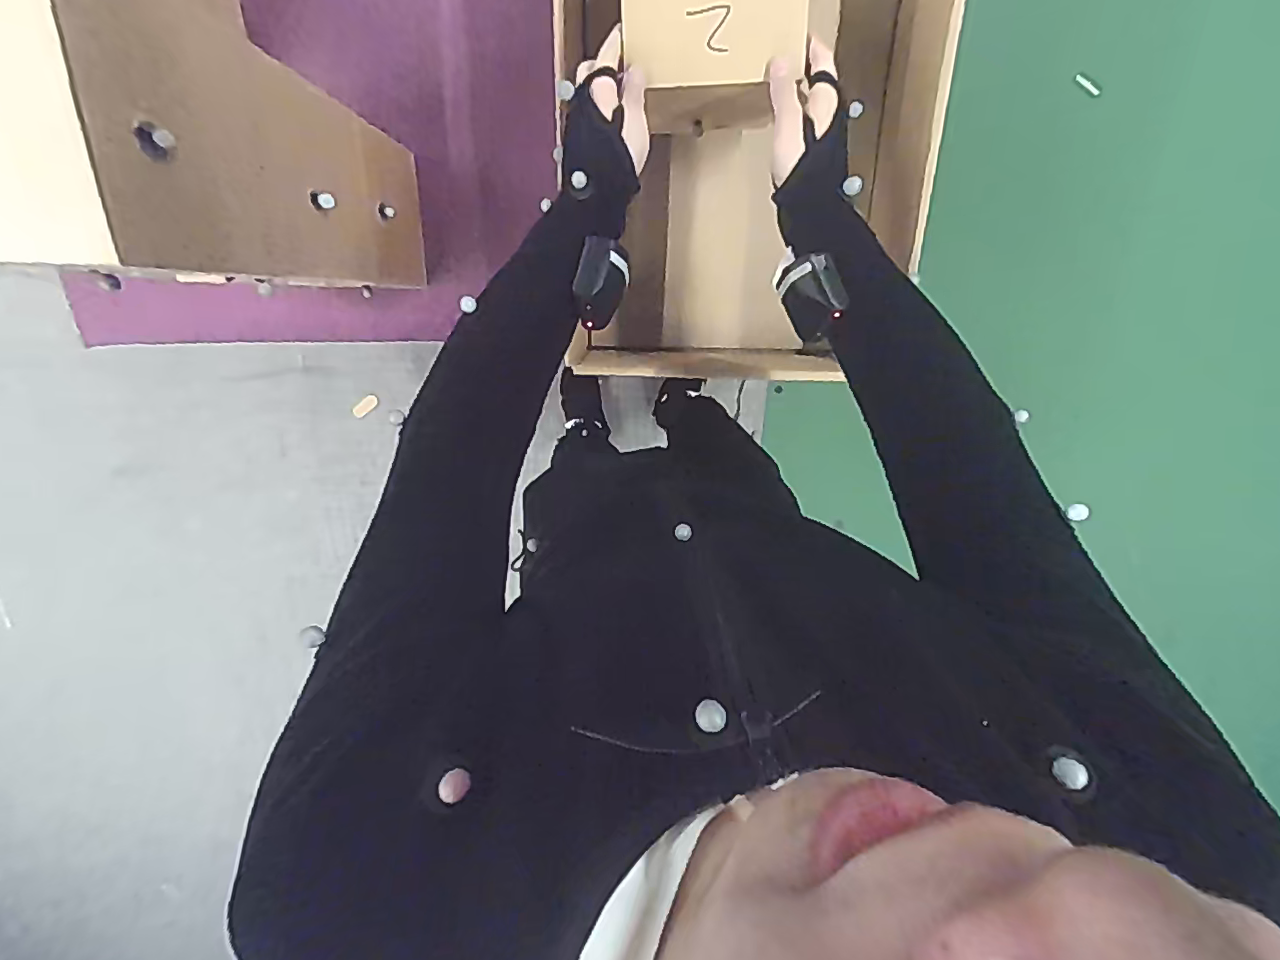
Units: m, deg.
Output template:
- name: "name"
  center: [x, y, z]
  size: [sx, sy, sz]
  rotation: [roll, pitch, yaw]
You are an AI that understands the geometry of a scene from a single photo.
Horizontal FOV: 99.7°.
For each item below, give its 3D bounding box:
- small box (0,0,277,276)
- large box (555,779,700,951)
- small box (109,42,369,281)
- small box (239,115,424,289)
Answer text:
- name: "small box"
  center: [-0.386, -0.237, 0.368]
  size: [0.168, 0.176, 0.179]
  rotation: [2, 108, -1]
- name: "large box"
  center: [-0.042, 1.383, 1.961]
  size: [0.408, 0.320, 0.320]
  rotation: [-30, 107, 9]
- name: "small box"
  center: [-0.389, -0.289, 0.526]
  size: [0.168, 0.176, 0.179]
  rotation: [1, 109, -1]
- name: "small box"
  center: [-0.388, -0.337, 0.682]
  size: [0.168, 0.176, 0.179]
  rotation: [1, 107, -1]
